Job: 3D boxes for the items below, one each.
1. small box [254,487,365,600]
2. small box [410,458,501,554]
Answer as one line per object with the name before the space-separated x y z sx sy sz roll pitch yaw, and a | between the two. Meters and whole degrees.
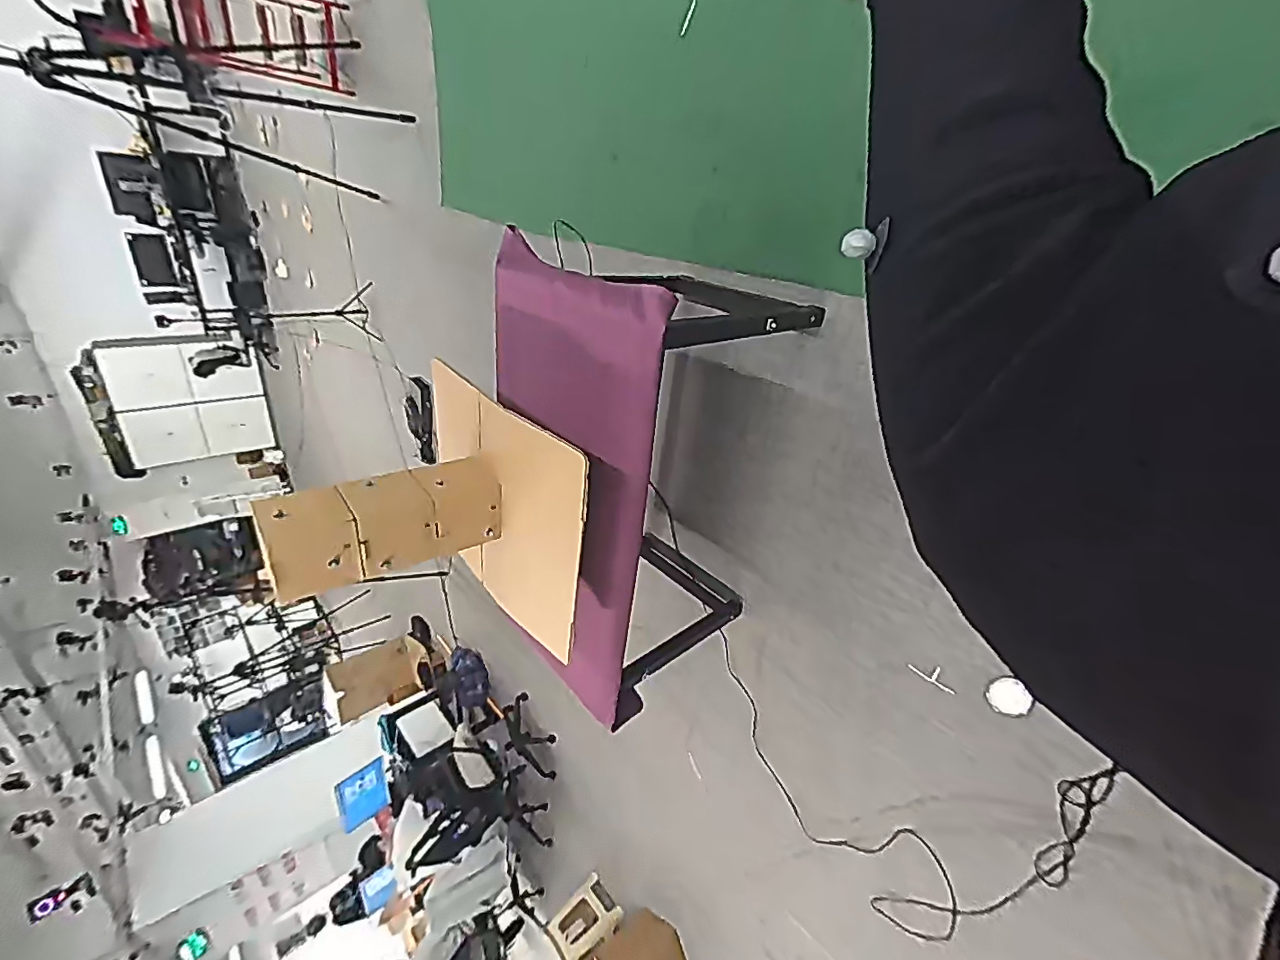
small box | -0.722 0.128 1.188 0.179 0.176 0.168 33 127 41
small box | -0.468 0.058 1.383 0.179 0.176 0.168 35 128 39
